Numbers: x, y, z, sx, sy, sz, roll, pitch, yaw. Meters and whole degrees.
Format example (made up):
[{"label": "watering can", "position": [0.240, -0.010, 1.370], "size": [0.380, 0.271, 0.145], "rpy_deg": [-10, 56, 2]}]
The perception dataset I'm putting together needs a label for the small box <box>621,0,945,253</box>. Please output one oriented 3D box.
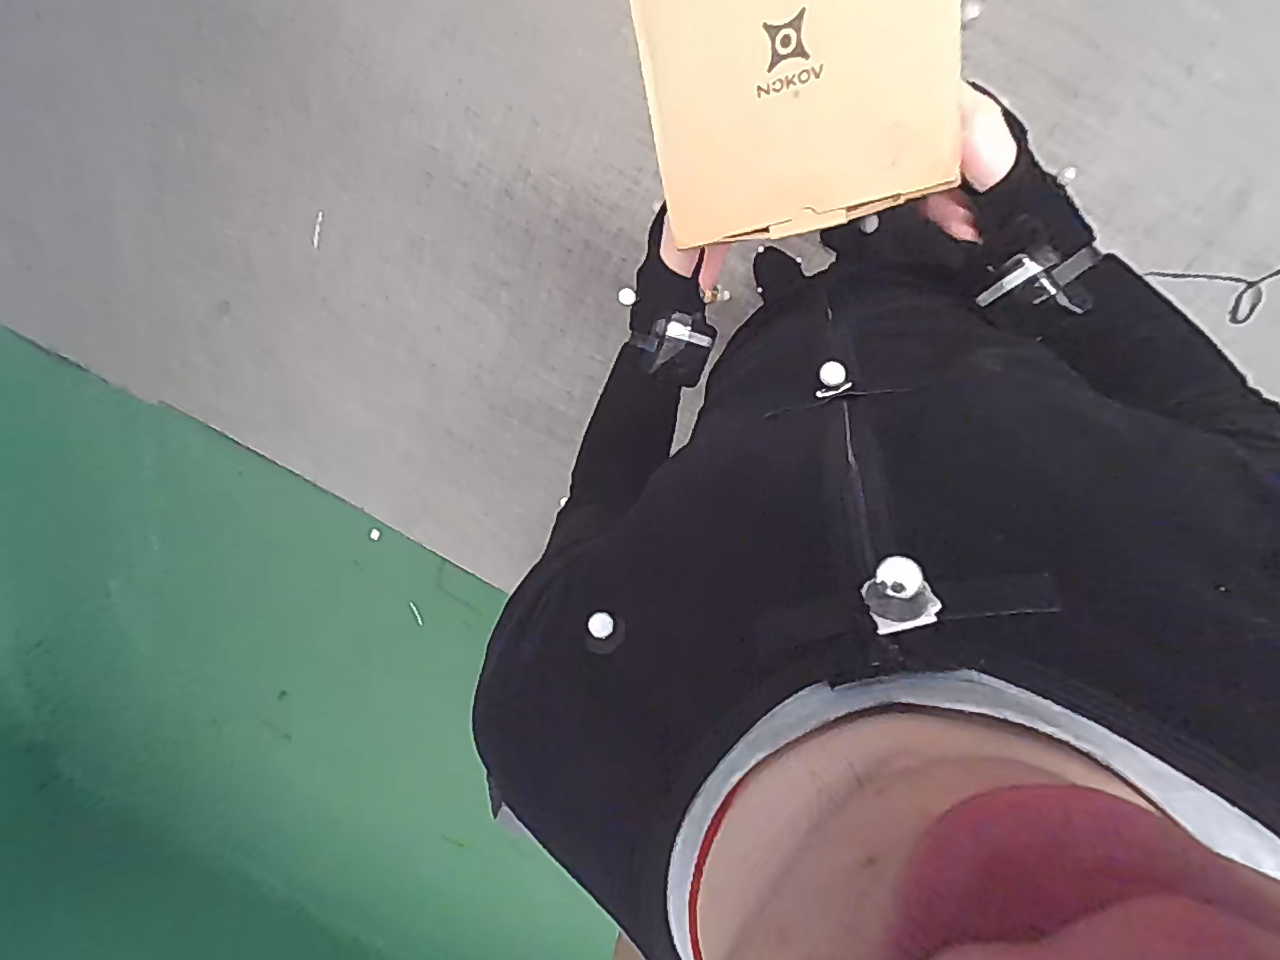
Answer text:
[{"label": "small box", "position": [0.101, -0.266, 0.363], "size": [0.168, 0.176, 0.179], "rpy_deg": [-5, 112, 23]}]
